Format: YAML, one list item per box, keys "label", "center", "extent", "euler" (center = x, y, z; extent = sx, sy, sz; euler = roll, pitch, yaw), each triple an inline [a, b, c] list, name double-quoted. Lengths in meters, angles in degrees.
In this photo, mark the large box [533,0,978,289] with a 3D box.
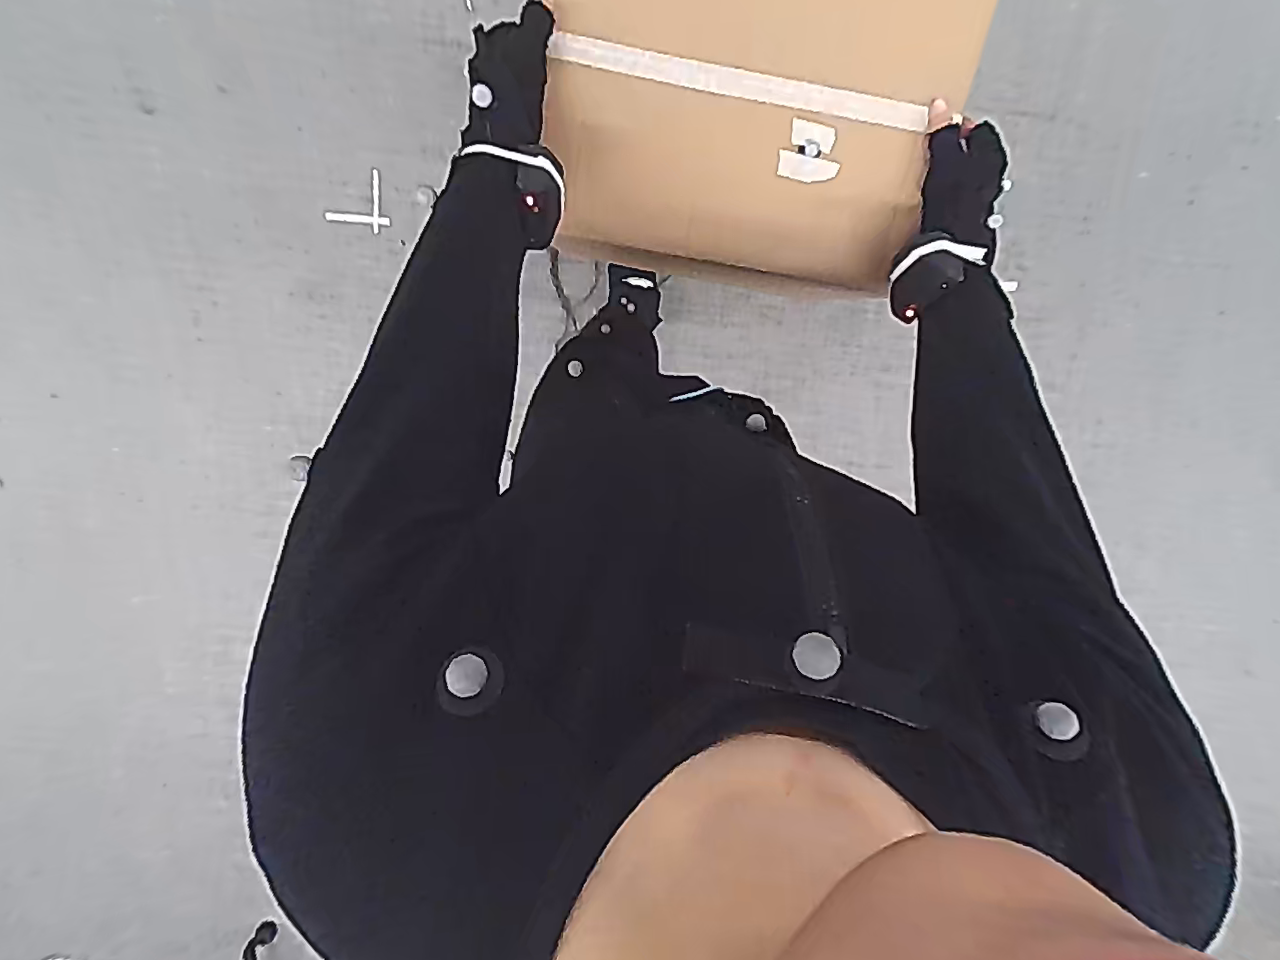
- label: "large box"
  center: [0.101, -0.428, 0.666]
  extent: [0.408, 0.320, 0.320]
  euler: [9, 109, -5]
